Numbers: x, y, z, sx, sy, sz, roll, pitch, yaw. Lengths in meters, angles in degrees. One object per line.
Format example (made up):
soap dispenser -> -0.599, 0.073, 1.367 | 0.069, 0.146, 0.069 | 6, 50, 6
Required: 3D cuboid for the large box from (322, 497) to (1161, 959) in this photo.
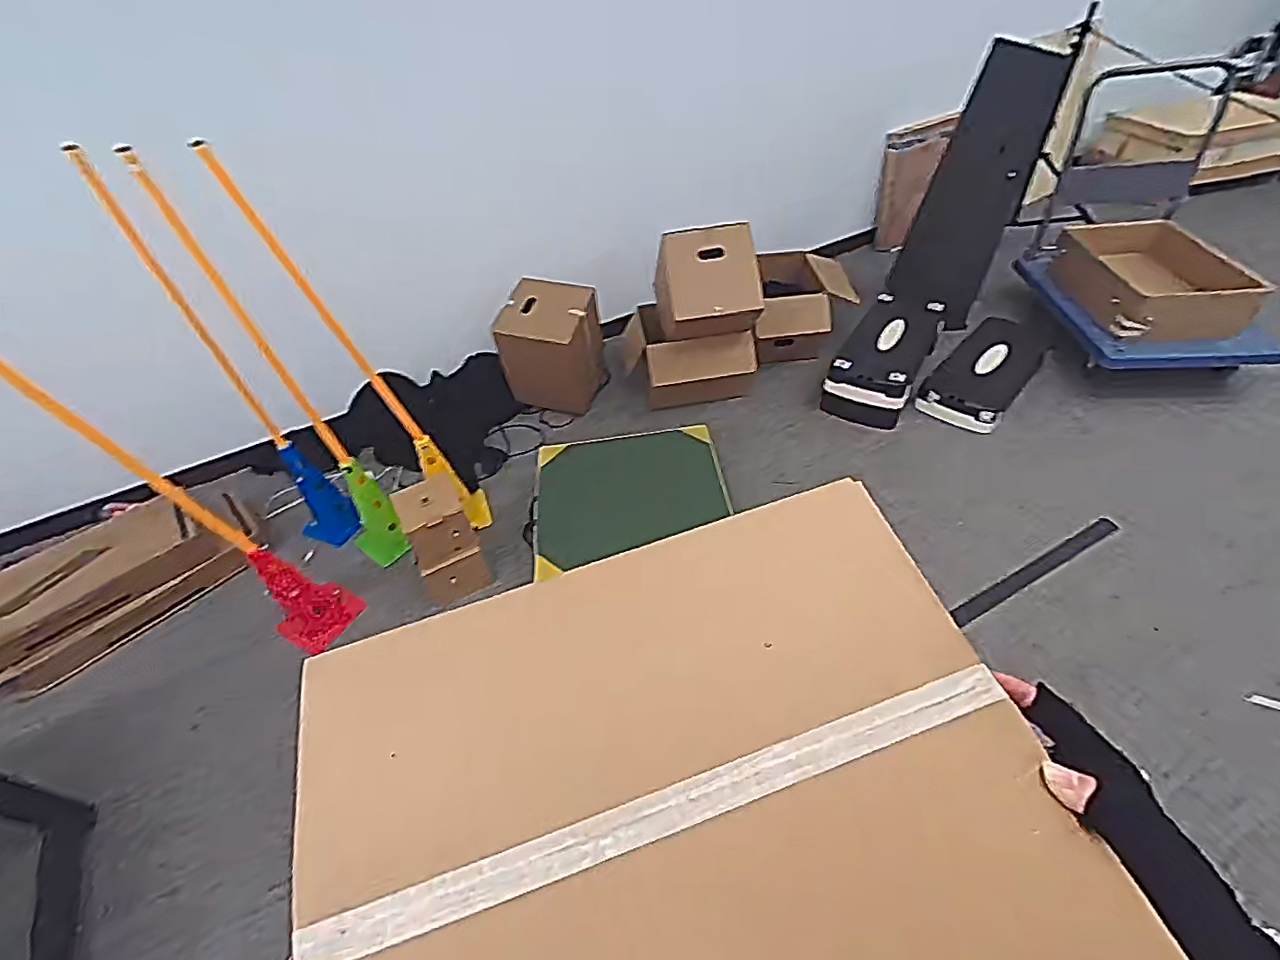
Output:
large box -> 0.035, 0.271, 0.429 | 0.408, 0.320, 0.320 | -18, 55, -6
